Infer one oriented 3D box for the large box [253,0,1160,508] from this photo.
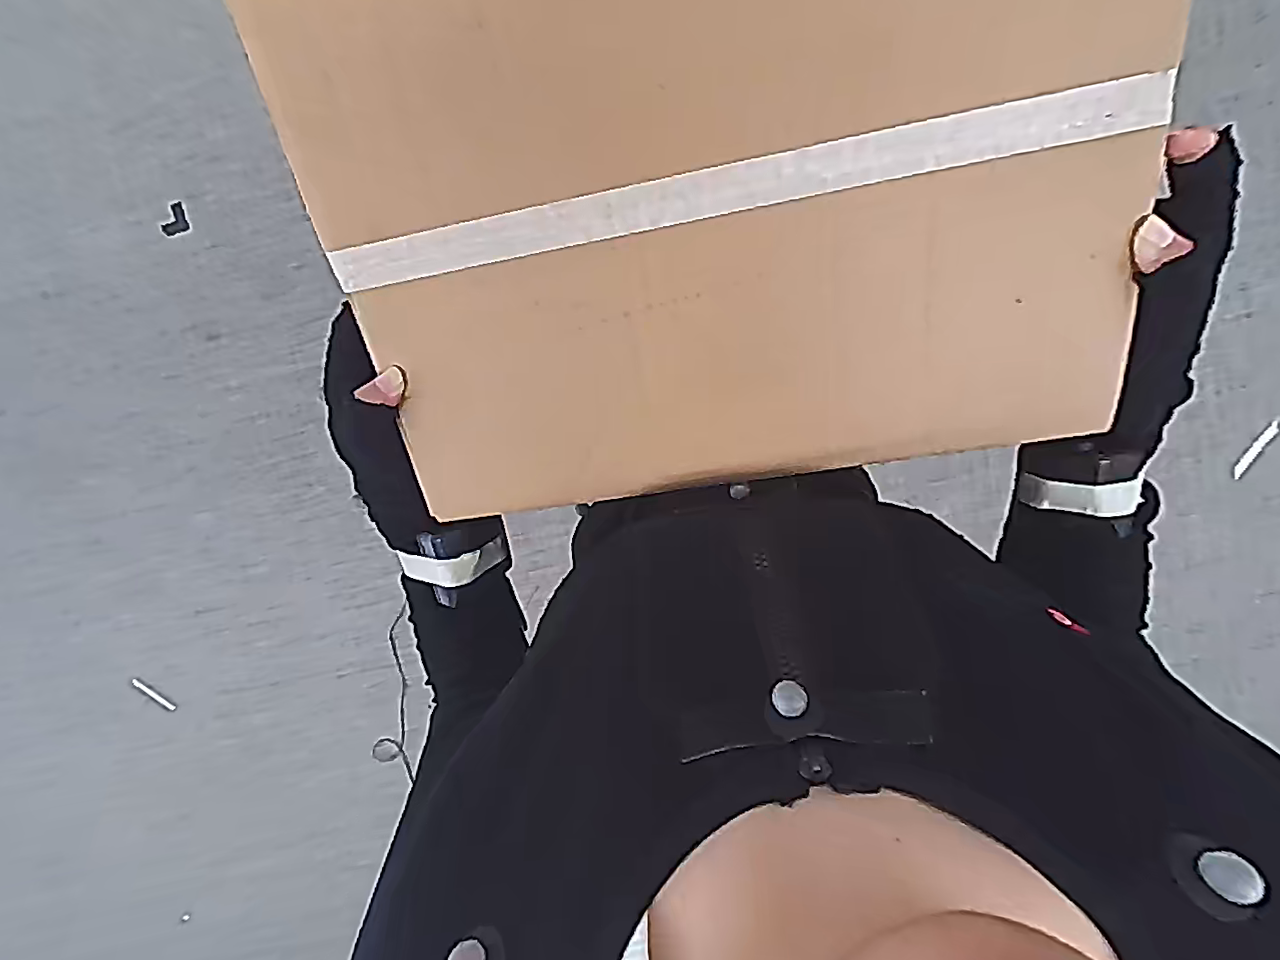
[{"bbox_3d":[0.042,-0.208,0.410,0.408,0.320,0.320,-8,115,7],"label":"large box"}]
